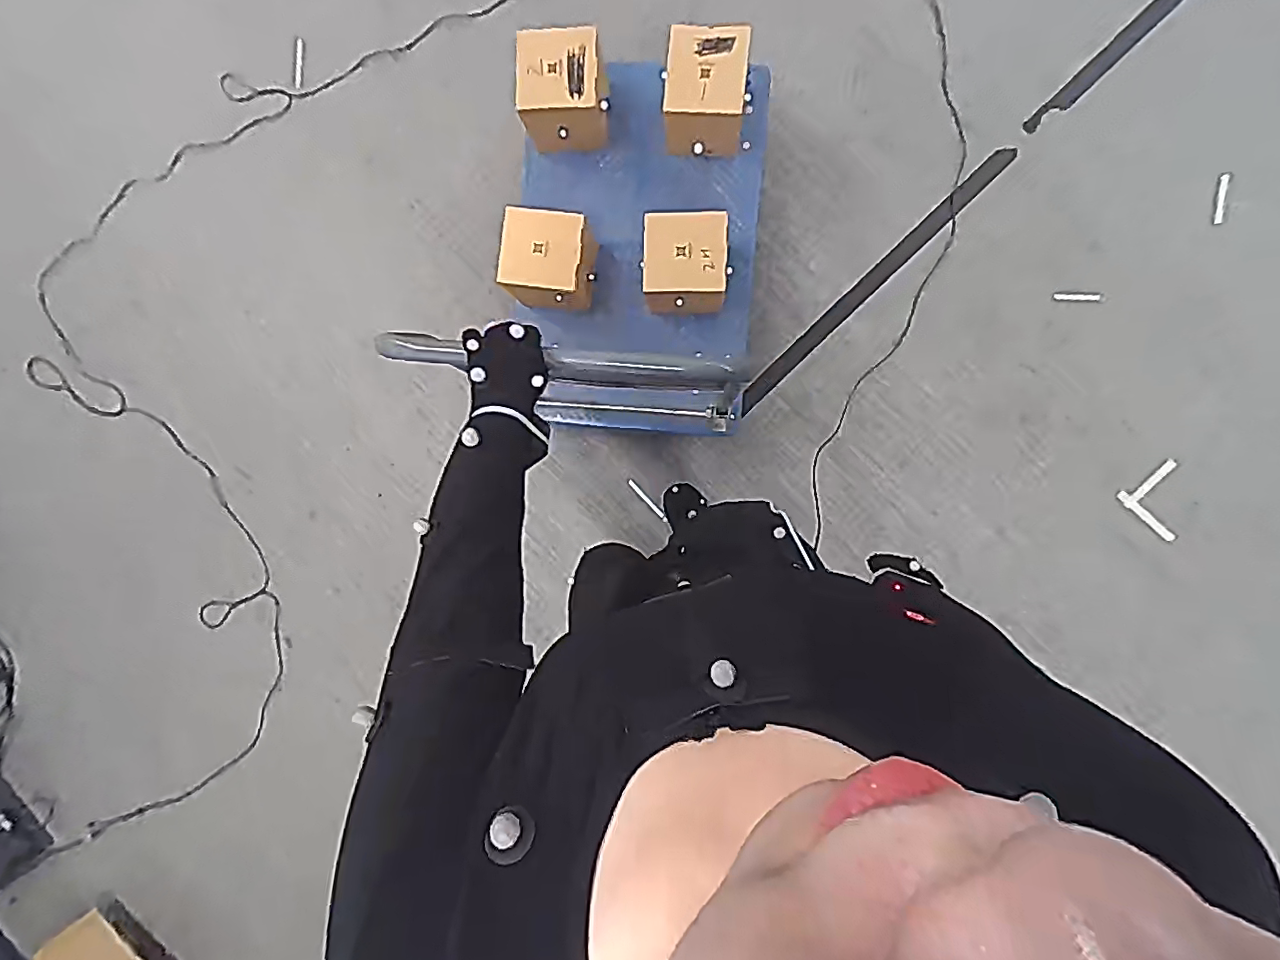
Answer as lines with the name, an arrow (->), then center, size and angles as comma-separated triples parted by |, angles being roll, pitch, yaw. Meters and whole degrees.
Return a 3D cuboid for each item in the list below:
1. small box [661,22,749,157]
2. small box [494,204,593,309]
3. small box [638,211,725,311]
small box -> 0.139, -0.847, 1.185 | 0.168, 0.176, 0.179 | 6, 94, 5
small box -> -0.214, -0.502, 1.234 | 0.179, 0.176, 0.168 | 8, 92, 3
small box -> 0.094, -0.480, 1.205 | 0.179, 0.176, 0.168 | 2, 93, 5
